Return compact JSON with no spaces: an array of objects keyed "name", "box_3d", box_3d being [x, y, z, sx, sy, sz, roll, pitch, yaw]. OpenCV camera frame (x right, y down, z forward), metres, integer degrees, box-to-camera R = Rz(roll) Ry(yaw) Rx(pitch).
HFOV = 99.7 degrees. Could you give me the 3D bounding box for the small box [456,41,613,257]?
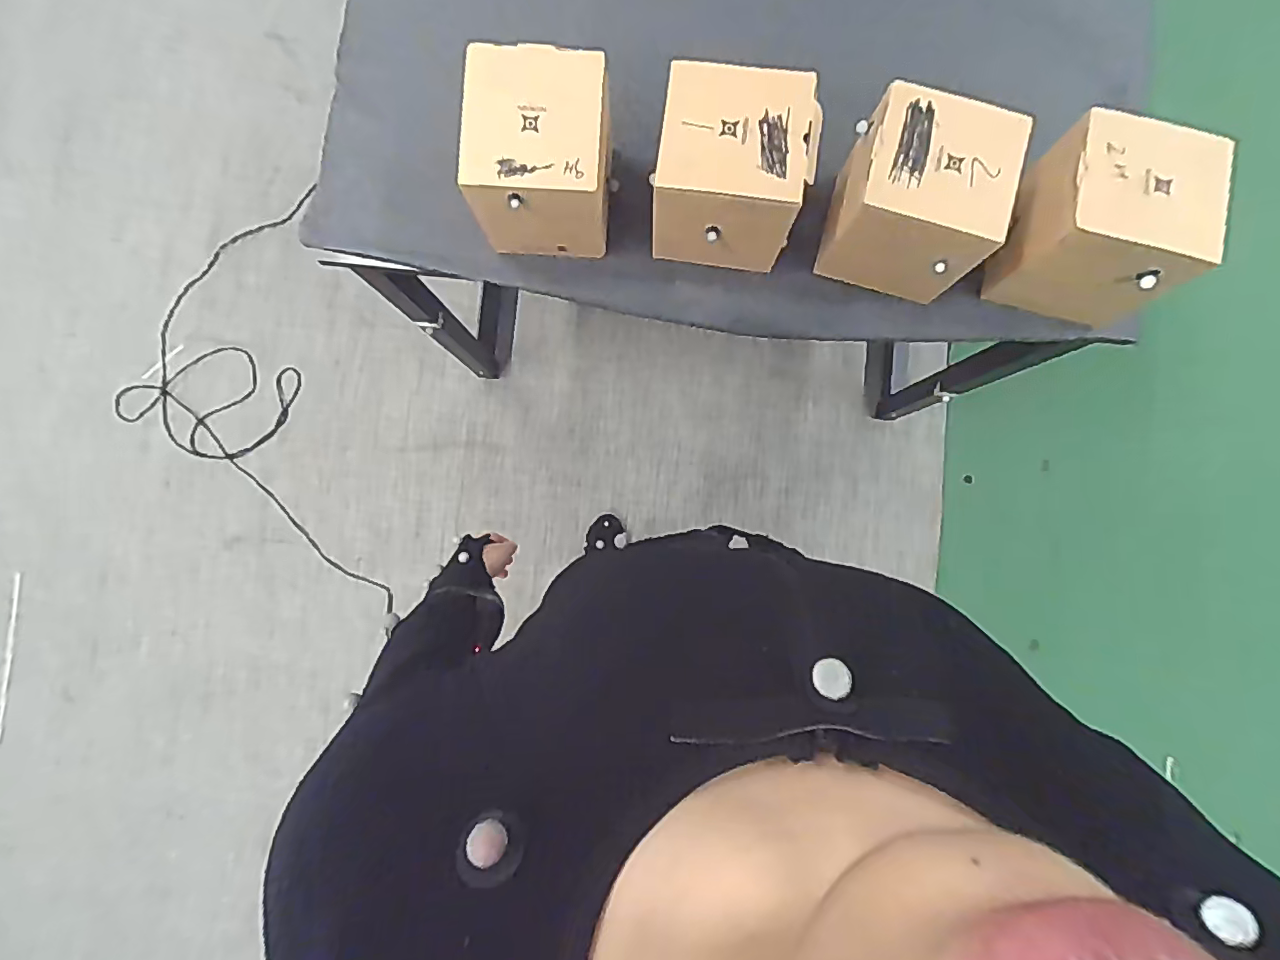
[{"name":"small box","box_3d":[-0.127,-0.423,0.713,0.168,0.176,0.179,4,86,1]}]
